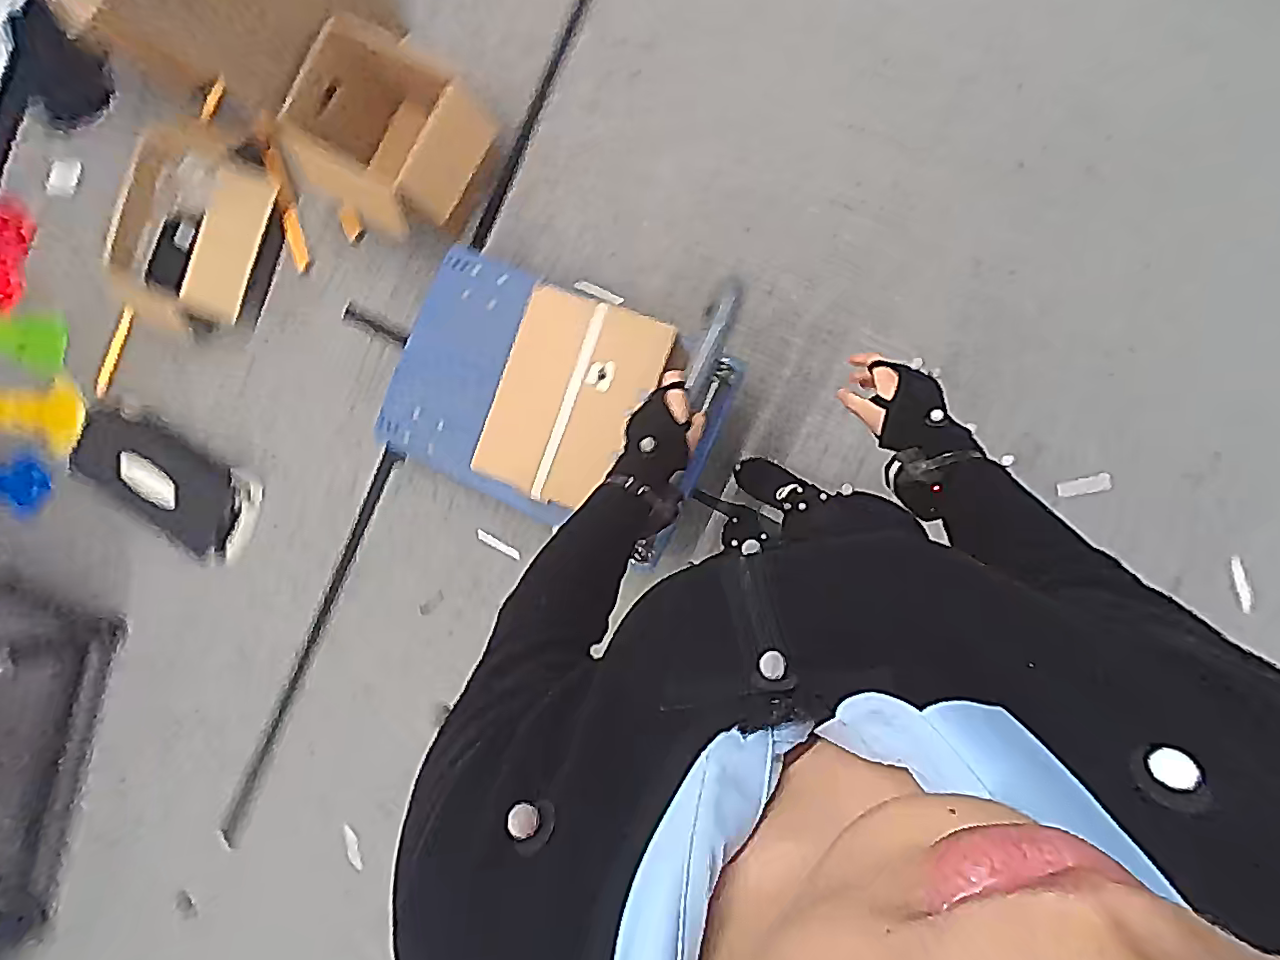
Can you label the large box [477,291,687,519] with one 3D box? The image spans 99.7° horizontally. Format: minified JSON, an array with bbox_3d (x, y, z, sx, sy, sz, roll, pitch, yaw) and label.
[{"bbox_3d":[-0.111,-0.148,1.235,0.320,0.320,0.408,20,91,10],"label":"large box"}]
